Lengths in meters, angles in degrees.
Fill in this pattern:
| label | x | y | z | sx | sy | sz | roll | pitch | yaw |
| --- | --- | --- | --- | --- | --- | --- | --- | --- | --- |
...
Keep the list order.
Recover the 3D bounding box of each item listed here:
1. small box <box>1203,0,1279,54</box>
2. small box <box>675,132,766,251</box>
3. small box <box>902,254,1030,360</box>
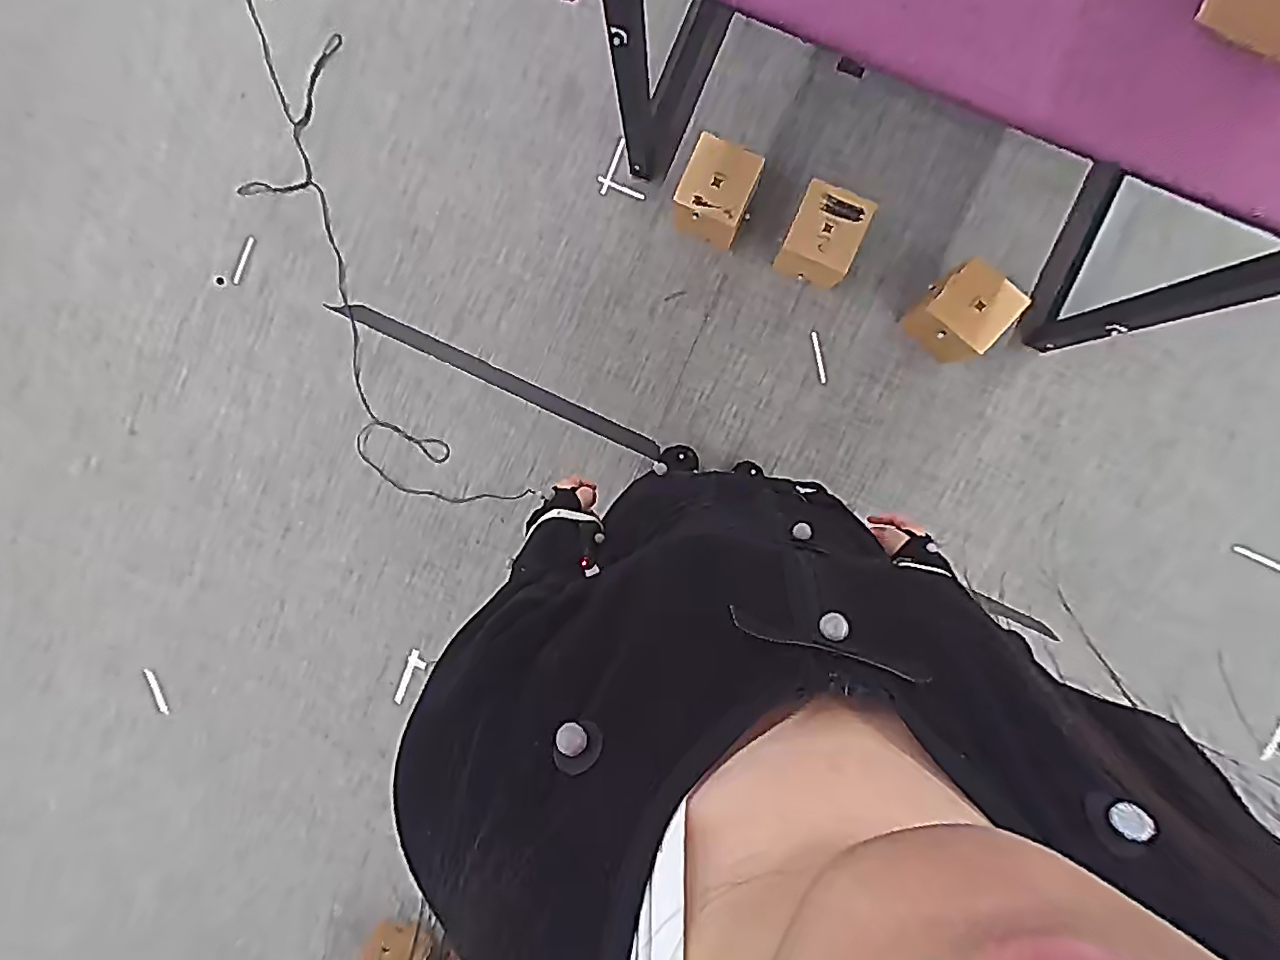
| label | x | y | z | sx | sy | sz | roll | pitch | yaw |
| --- | --- | --- | --- | --- | --- | --- | --- | --- | --- |
| small box | 0.810 | -0.610 | 0.591 | 0.179 | 0.176 | 0.168 | 26 | 94 | 2 |
| small box | 0.192 | -0.714 | 1.356 | 0.168 | 0.176 | 0.179 | 26 | 94 | 1 |
| small box | 0.796 | -0.417 | 1.341 | 0.179 | 0.176 | 0.168 | 41 | 96 | 1 |
